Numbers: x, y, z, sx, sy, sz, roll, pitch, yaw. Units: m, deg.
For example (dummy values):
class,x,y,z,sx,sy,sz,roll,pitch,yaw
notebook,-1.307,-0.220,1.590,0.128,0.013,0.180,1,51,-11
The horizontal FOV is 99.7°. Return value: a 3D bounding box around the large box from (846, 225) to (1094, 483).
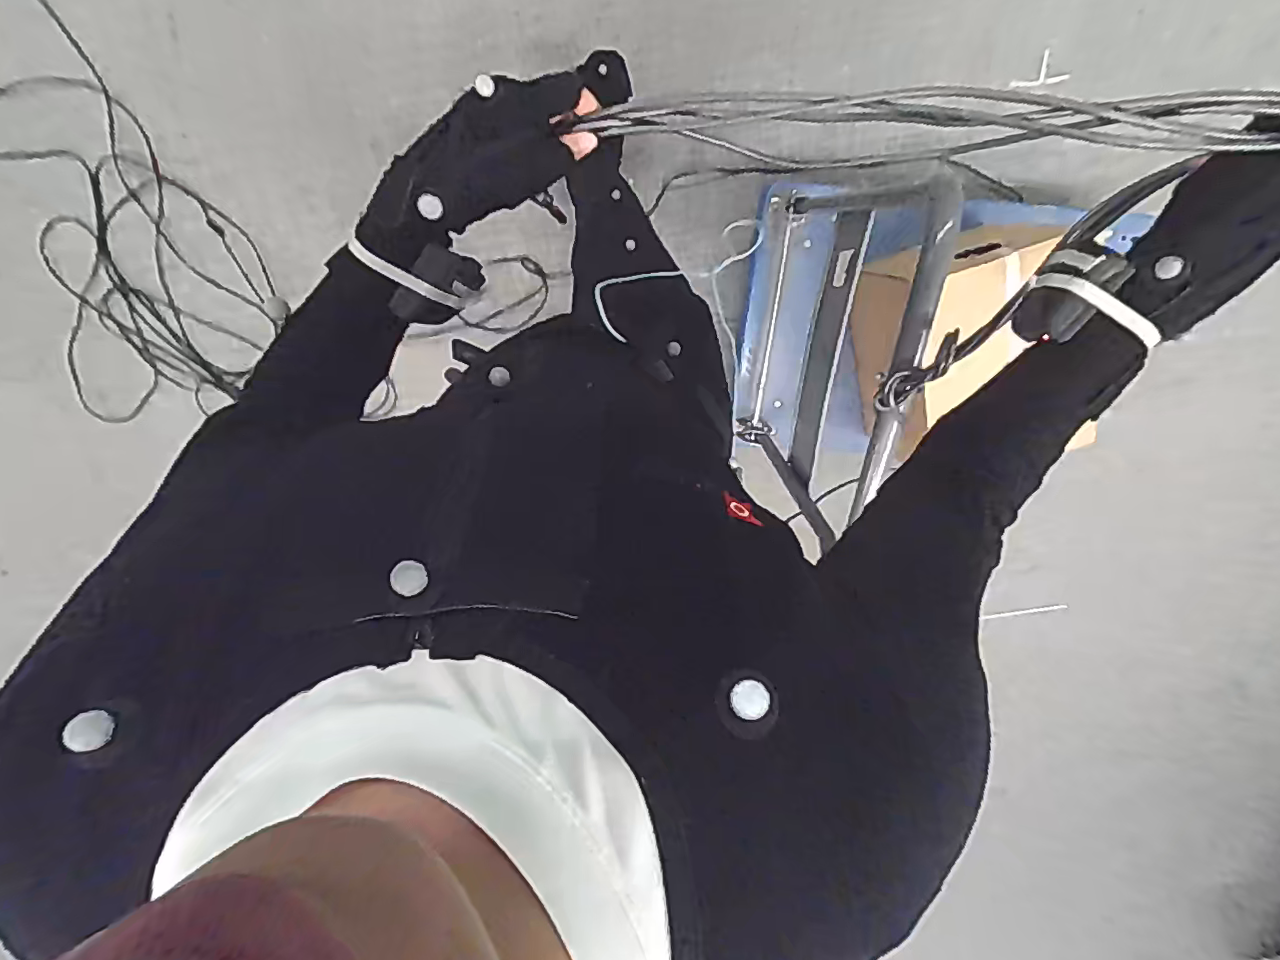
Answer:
class,x,y,z,sx,sy,sz,roll,pitch,yaw
large box,0.656,-0.266,1.115,0.320,0.320,0.408,-17,113,4
